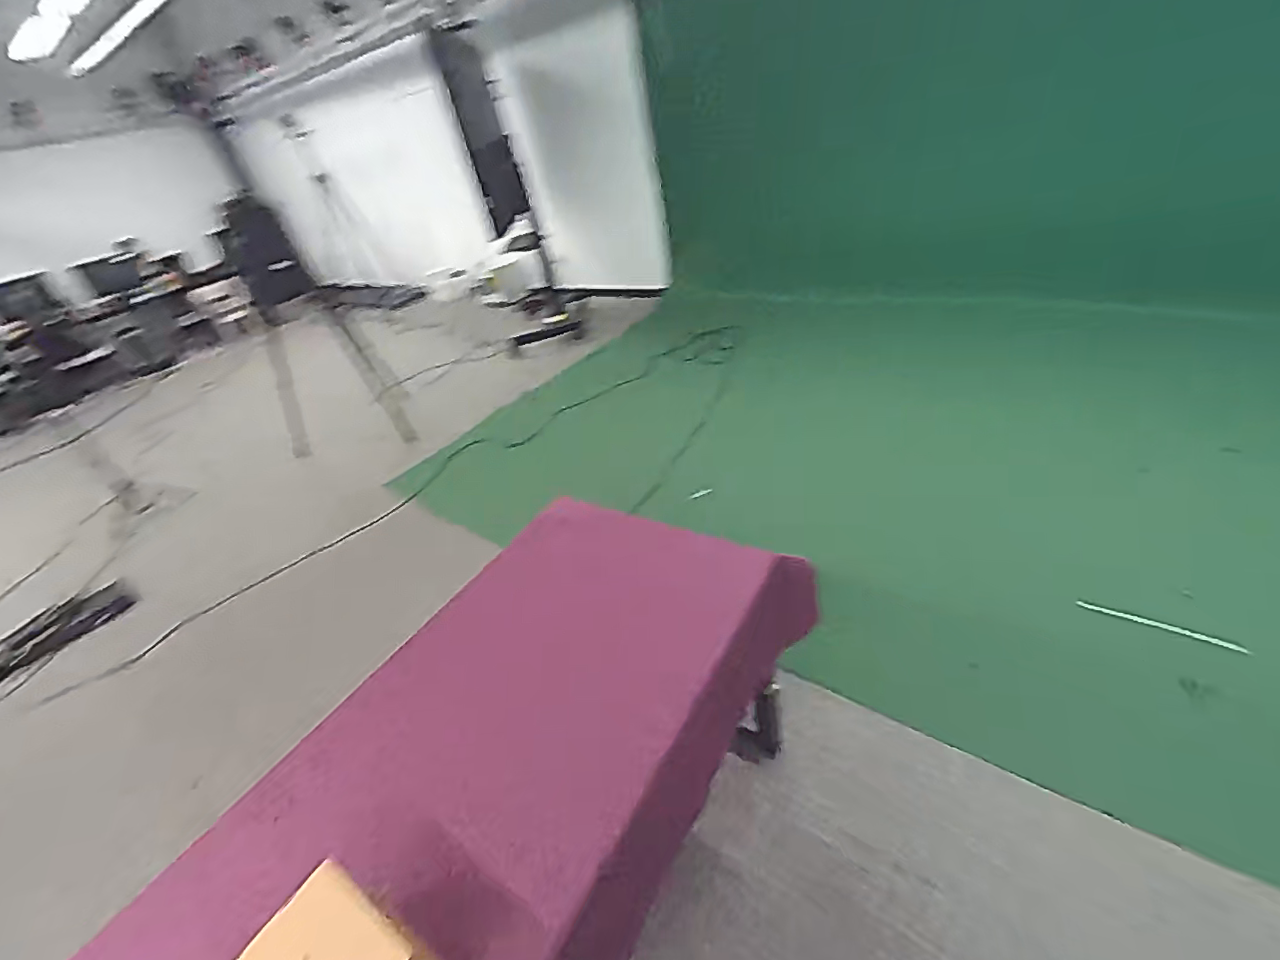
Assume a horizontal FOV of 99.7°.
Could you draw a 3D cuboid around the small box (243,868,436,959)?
[{"bbox_3d":[-0.329,0.583,0.589,0.179,0.176,0.168,13,44,32],"label":"small box"}]
